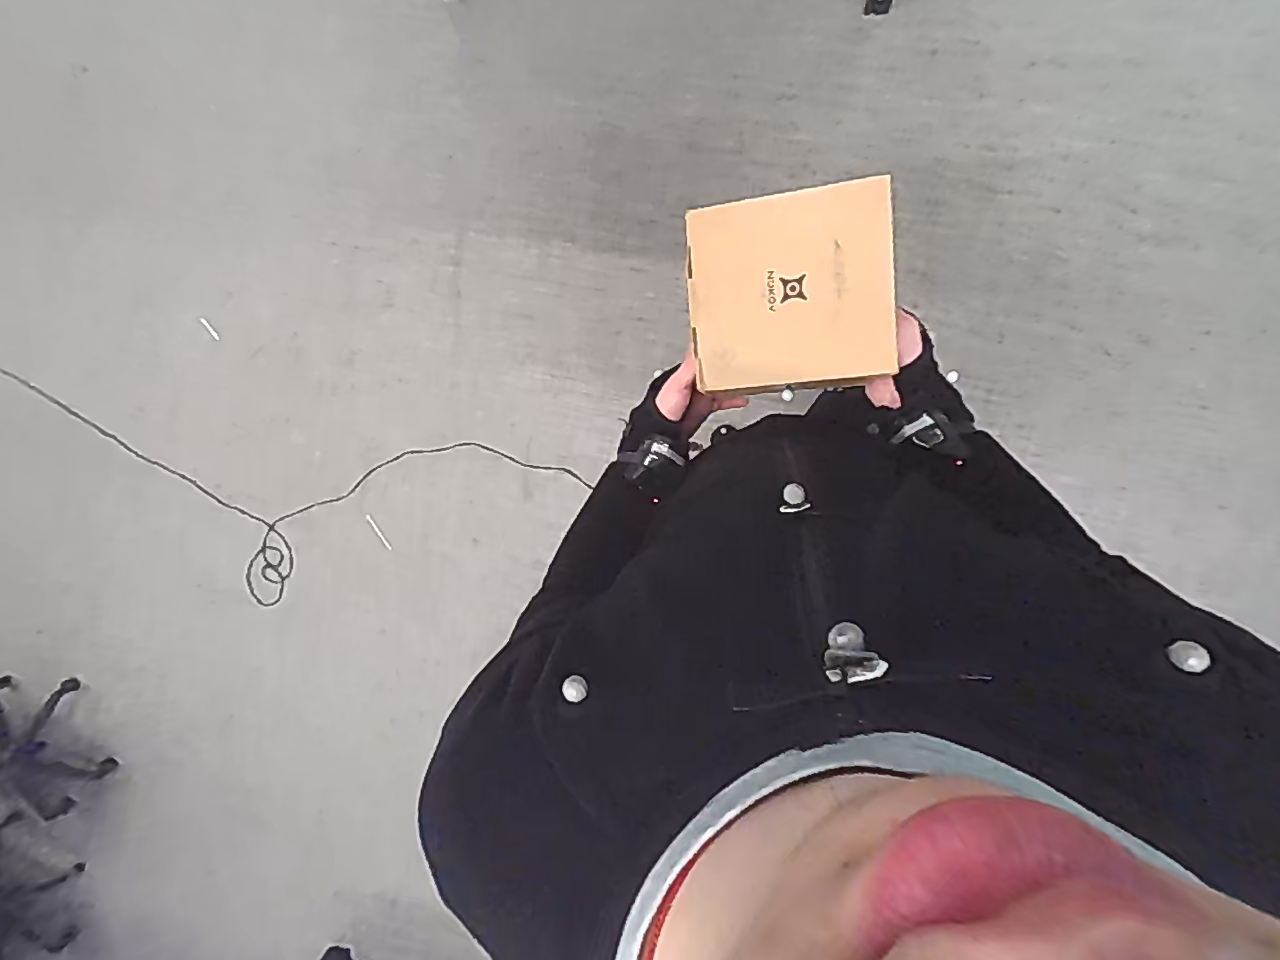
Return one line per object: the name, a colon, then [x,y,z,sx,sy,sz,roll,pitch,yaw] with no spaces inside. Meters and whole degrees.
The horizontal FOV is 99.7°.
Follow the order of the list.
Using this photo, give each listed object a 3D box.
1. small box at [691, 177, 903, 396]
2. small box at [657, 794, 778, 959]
small box: [0.156,-0.177,0.556,0.179,0.176,0.168,-4,96,14]
small box: [0.142,0.708,0.973,0.179,0.176,0.168,11,101,10]
